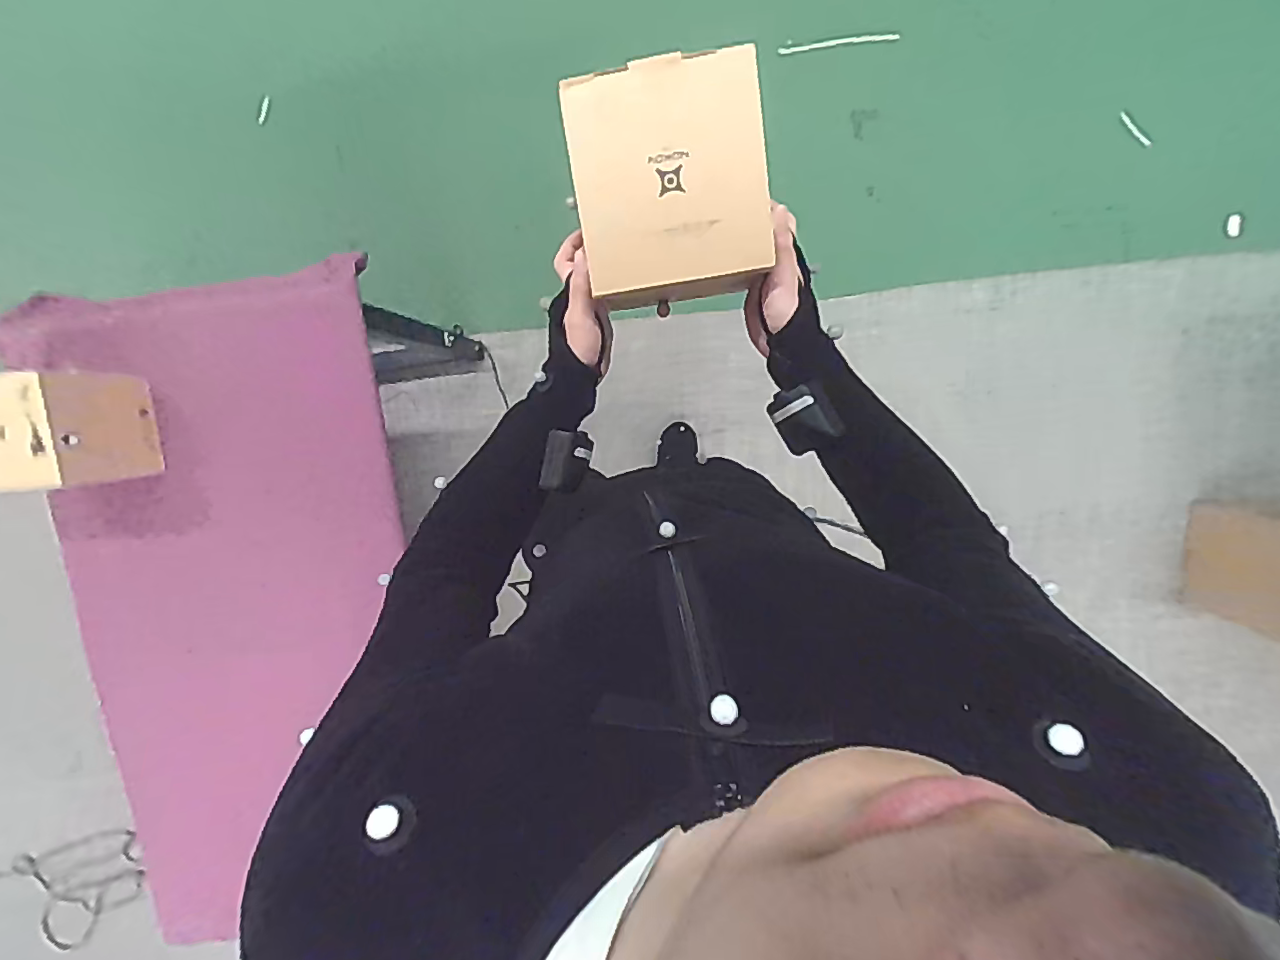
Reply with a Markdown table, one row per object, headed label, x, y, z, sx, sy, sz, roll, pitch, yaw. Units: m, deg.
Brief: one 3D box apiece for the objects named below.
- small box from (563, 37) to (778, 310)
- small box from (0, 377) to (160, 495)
| label | x | y | z | sx | sy | sz | roll | pitch | yaw |
| --- | --- | --- | --- | --- | --- | --- | --- | --- | --- |
| small box | 0.029 | -0.274 | 0.526 | 0.168 | 0.176 | 0.179 | -7 | 102 | 4 |
| small box | -0.918 | -0.068 | 0.846 | 0.179 | 0.176 | 0.168 | -4 | 98 | 4 |
